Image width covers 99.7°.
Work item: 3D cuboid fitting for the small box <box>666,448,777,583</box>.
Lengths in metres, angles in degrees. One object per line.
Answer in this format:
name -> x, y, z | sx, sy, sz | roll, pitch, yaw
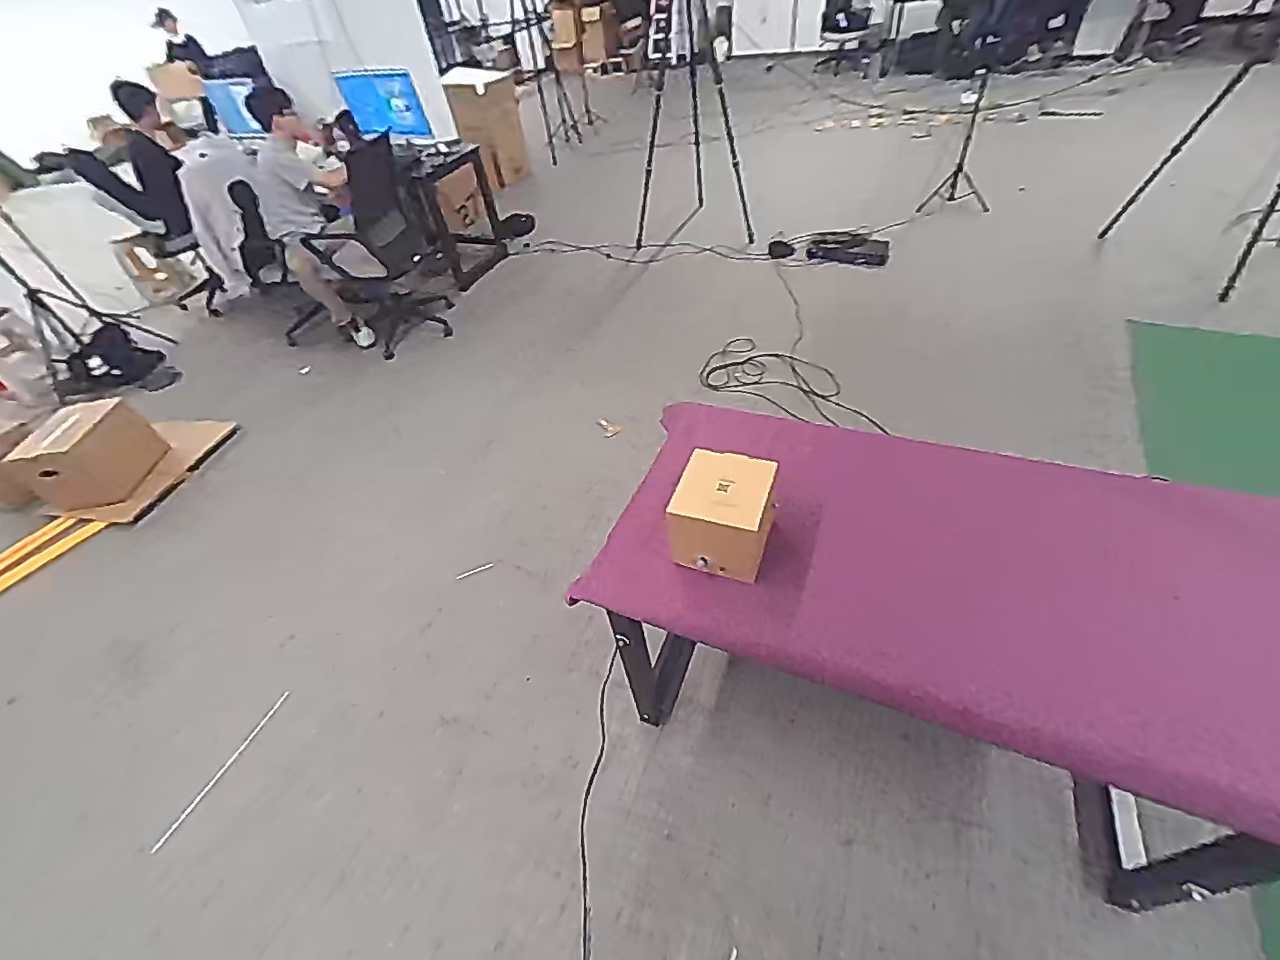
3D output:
small box -> 0.160, 0.067, 1.046 | 0.168, 0.176, 0.179 | 12, 50, 21
